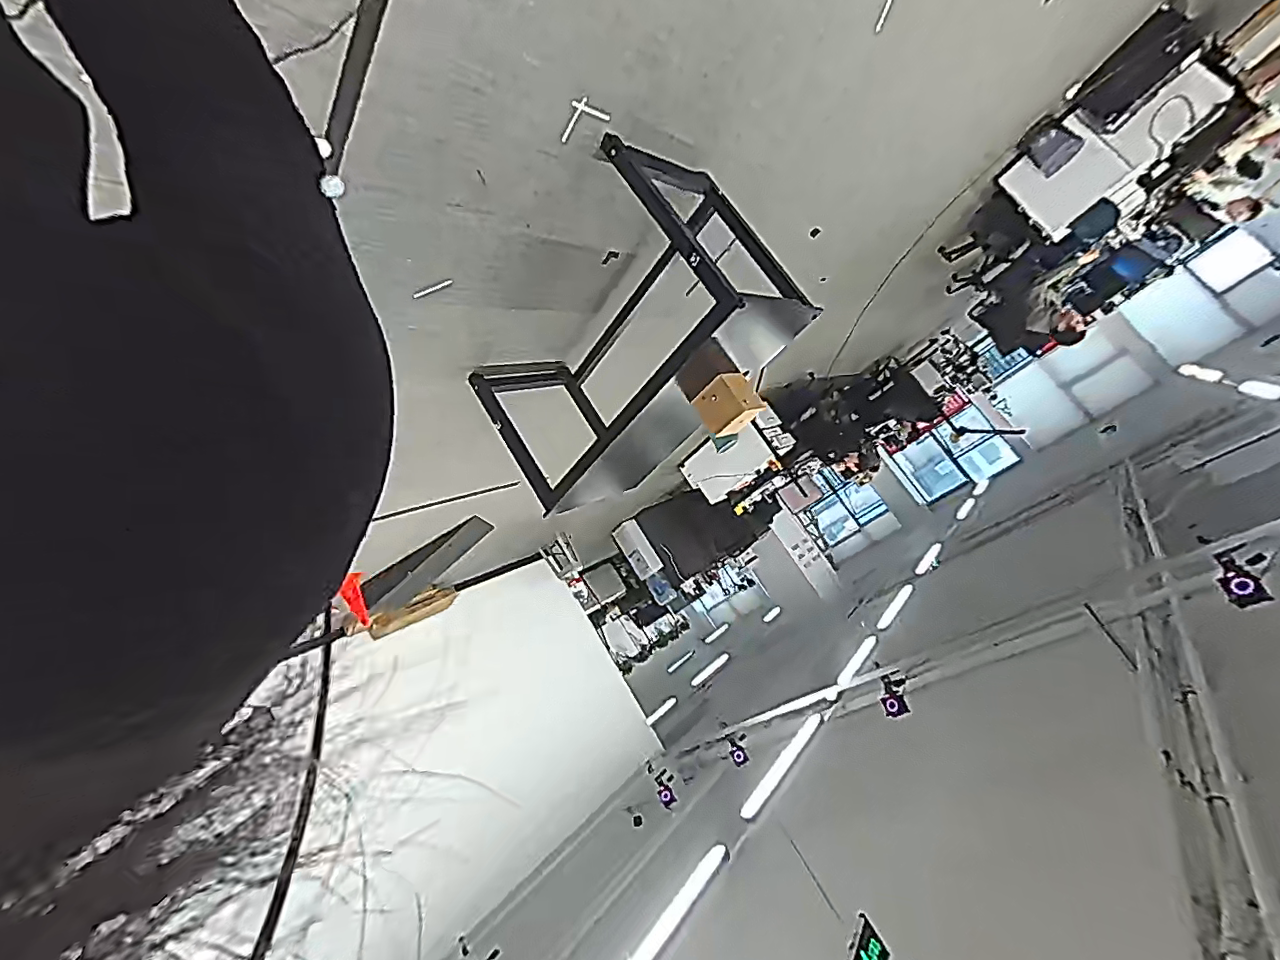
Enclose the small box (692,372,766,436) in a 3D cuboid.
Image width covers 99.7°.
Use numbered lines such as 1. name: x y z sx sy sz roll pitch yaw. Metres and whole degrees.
1. small box: 0.329 -0.287 2.007 0.179 0.176 0.168 -17 159 -50
